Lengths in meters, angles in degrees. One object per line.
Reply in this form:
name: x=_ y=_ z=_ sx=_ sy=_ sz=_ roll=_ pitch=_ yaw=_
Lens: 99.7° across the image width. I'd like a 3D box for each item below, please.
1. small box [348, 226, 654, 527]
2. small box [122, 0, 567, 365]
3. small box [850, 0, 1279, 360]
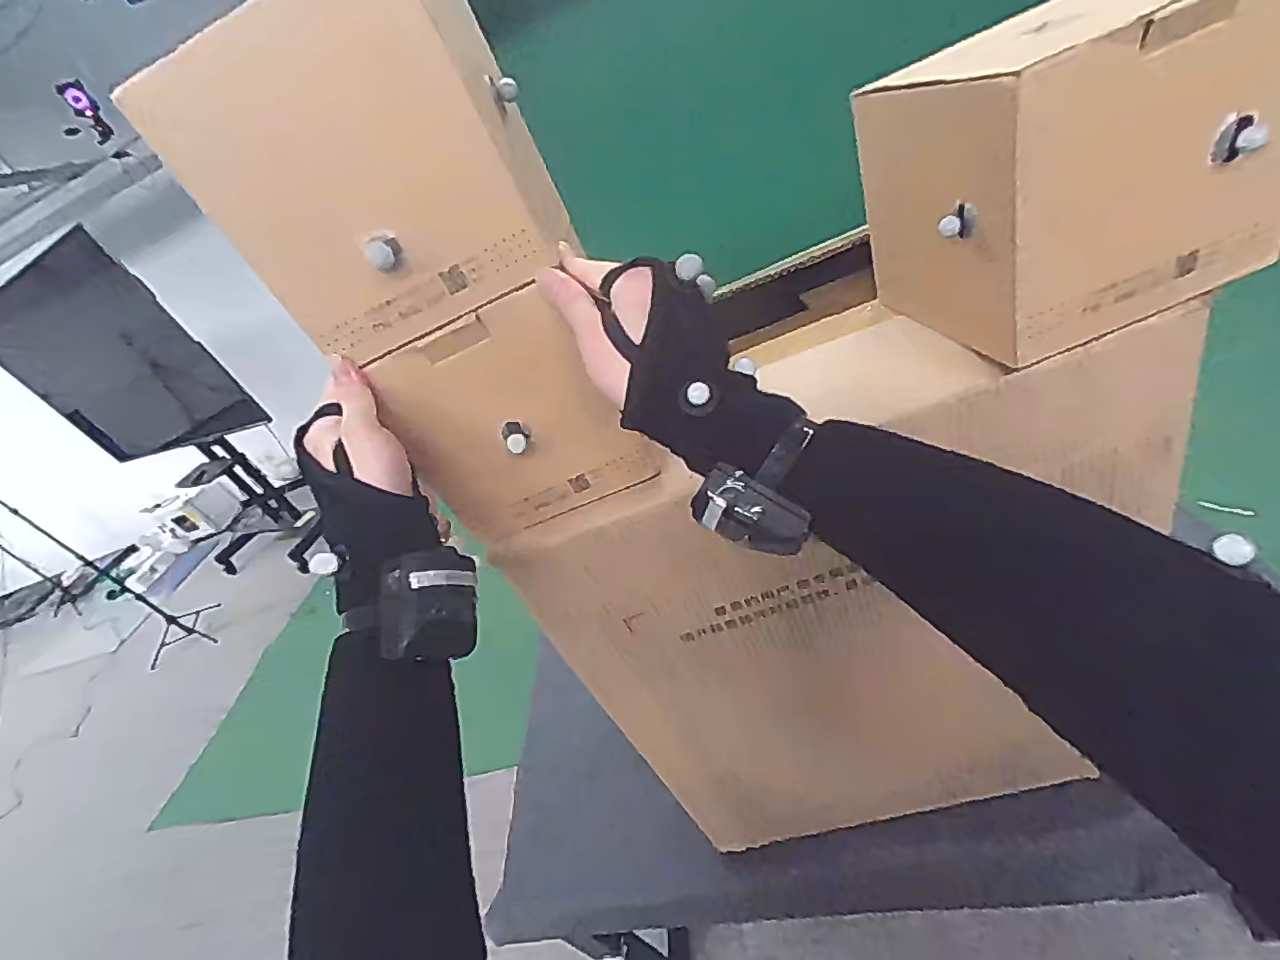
small box: x=-0.096 y=-0.081 z=0.457 sx=0.168 sy=0.176 sz=0.179 roll=-21 pitch=34 yaw=10
small box: x=-0.160 y=-0.205 z=0.369 sx=0.168 sy=0.176 sz=0.179 roll=-22 pitch=34 yaw=11
small box: x=0.269 y=-0.201 z=0.365 sx=0.168 sy=0.176 sz=0.179 roll=-22 pitch=32 yaw=4
